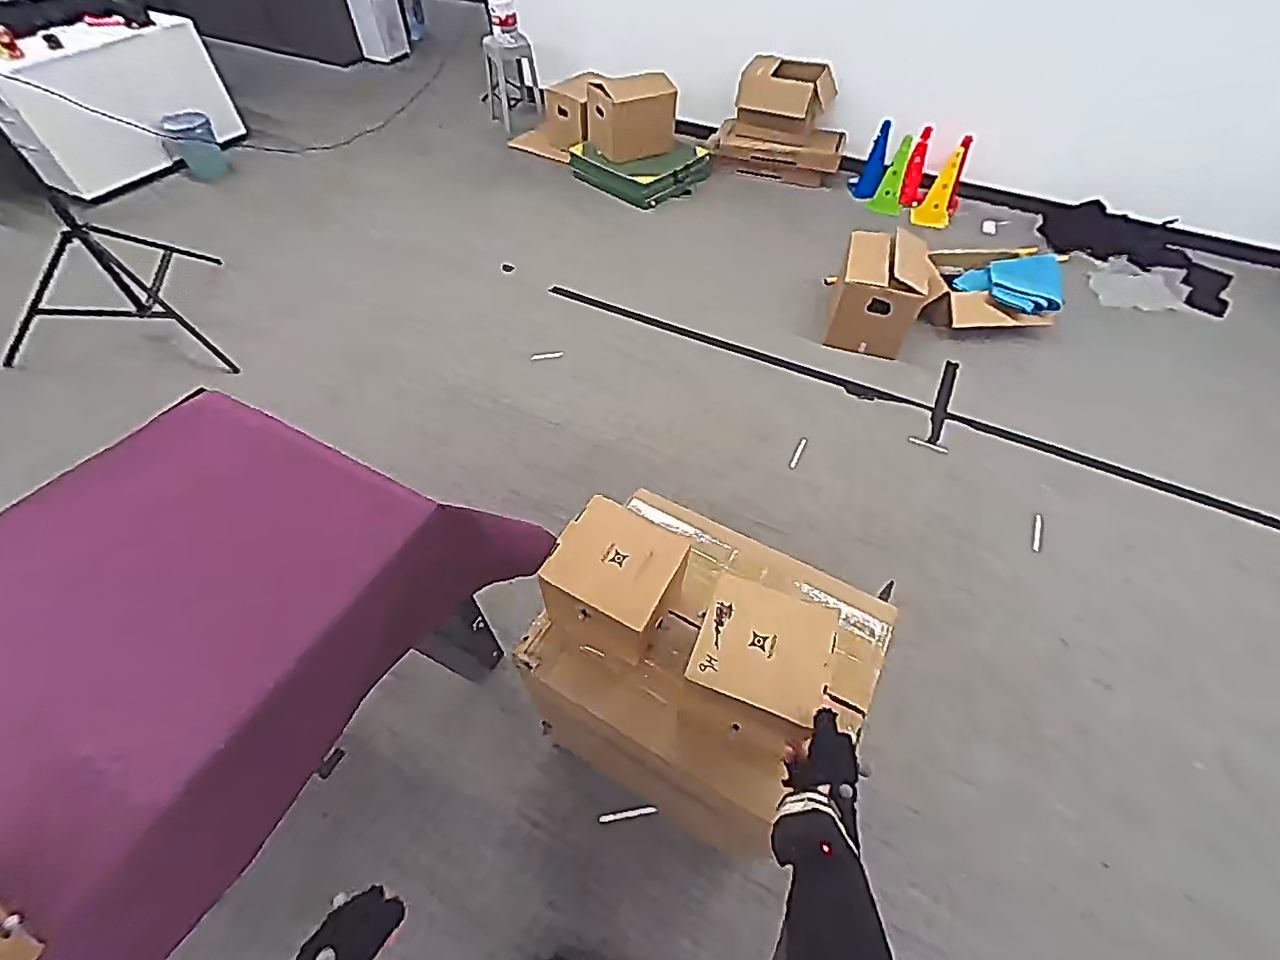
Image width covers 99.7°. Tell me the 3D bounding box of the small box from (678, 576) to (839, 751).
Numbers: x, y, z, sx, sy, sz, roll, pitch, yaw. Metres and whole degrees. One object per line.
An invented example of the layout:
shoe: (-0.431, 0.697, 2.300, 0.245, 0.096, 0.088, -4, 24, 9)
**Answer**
small box: (0.166, 0.272, 0.787, 0.179, 0.176, 0.168, 18, 55, 13)

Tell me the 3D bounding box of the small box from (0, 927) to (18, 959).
small box: (-0.730, 0.474, 0.472, 0.168, 0.176, 0.179, 21, 55, 15)
